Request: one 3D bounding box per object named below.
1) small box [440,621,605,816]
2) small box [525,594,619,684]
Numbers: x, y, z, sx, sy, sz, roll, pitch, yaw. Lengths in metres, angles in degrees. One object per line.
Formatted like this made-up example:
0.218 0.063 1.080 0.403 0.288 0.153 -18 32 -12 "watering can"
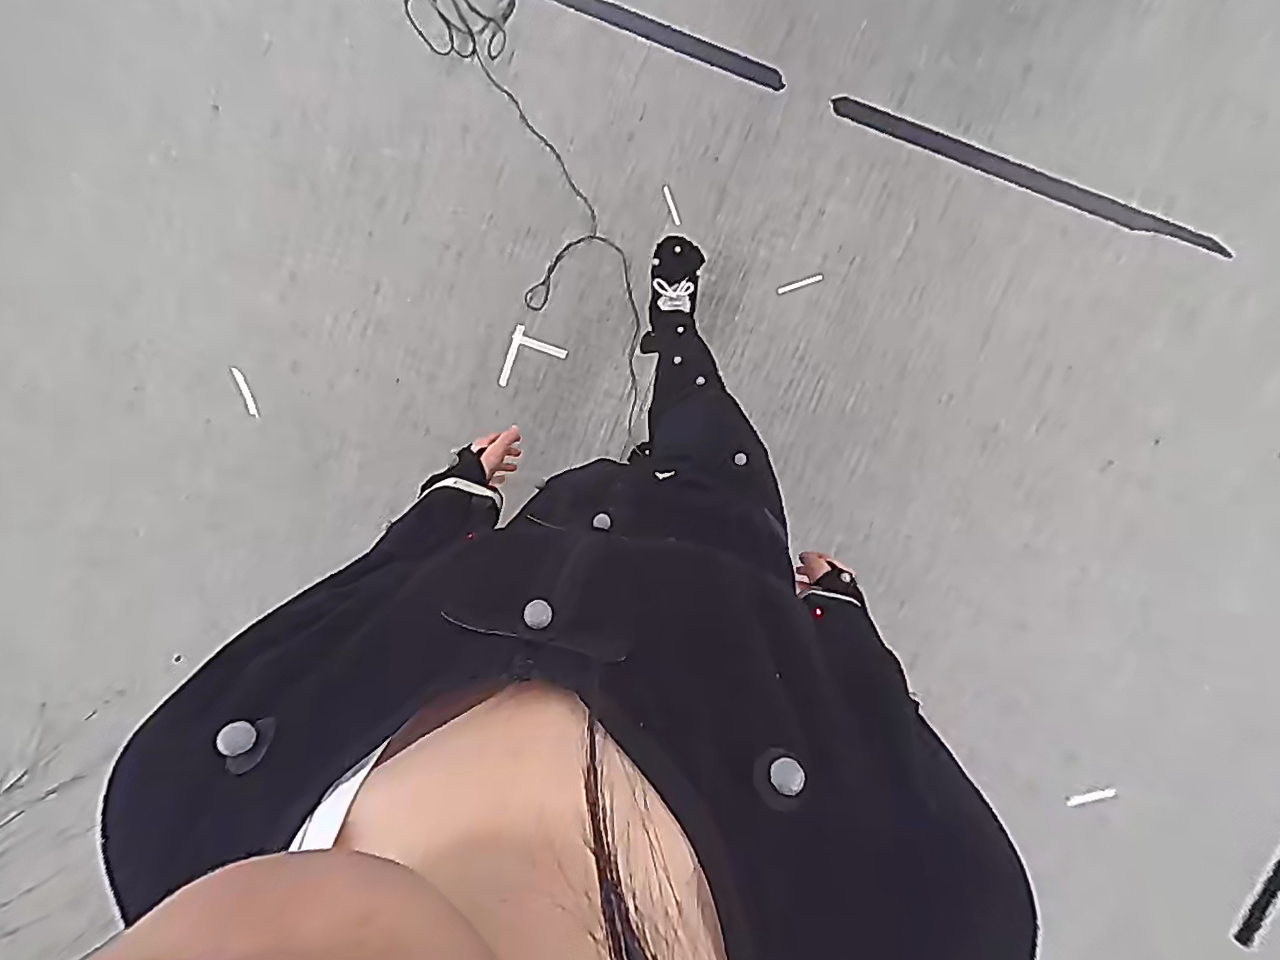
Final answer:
-0.161 0.337 0.804 0.168 0.176 0.179 25 96 2 "small box"
-0.148 0.329 0.967 0.168 0.176 0.179 27 95 2 "small box"
